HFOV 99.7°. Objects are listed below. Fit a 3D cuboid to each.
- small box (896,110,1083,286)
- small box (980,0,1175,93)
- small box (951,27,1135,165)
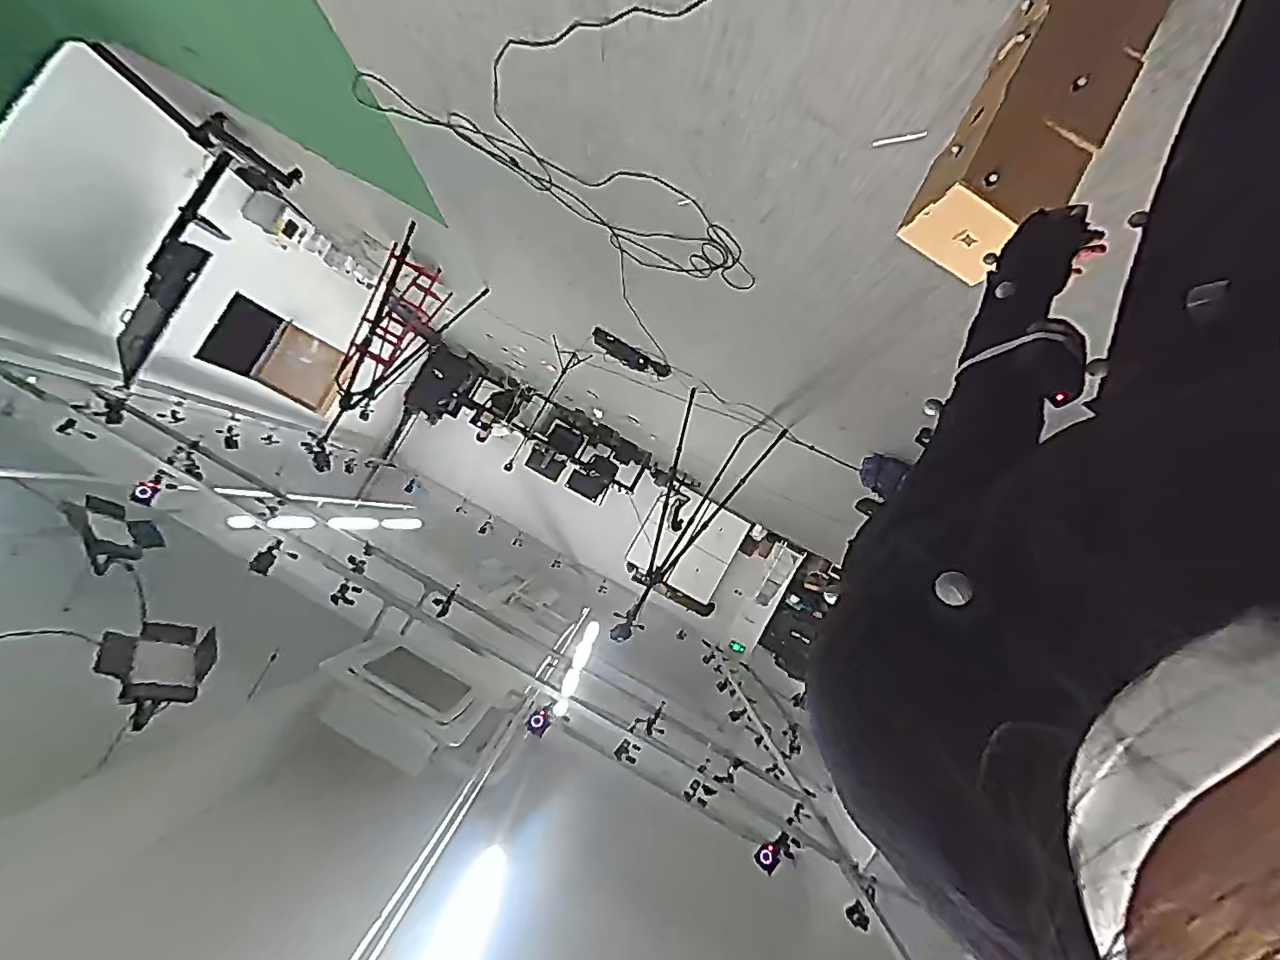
[{"bbox_3d":[0.587,-0.470,0.916,0.179,0.176,0.168,31,175,-6],"label":"small box"},{"bbox_3d":[0.748,-0.758,0.930,0.179,0.176,0.168,31,178,3],"label":"small box"},{"bbox_3d":[0.669,-0.611,0.921,0.179,0.176,0.168,29,175,-1],"label":"small box"}]
